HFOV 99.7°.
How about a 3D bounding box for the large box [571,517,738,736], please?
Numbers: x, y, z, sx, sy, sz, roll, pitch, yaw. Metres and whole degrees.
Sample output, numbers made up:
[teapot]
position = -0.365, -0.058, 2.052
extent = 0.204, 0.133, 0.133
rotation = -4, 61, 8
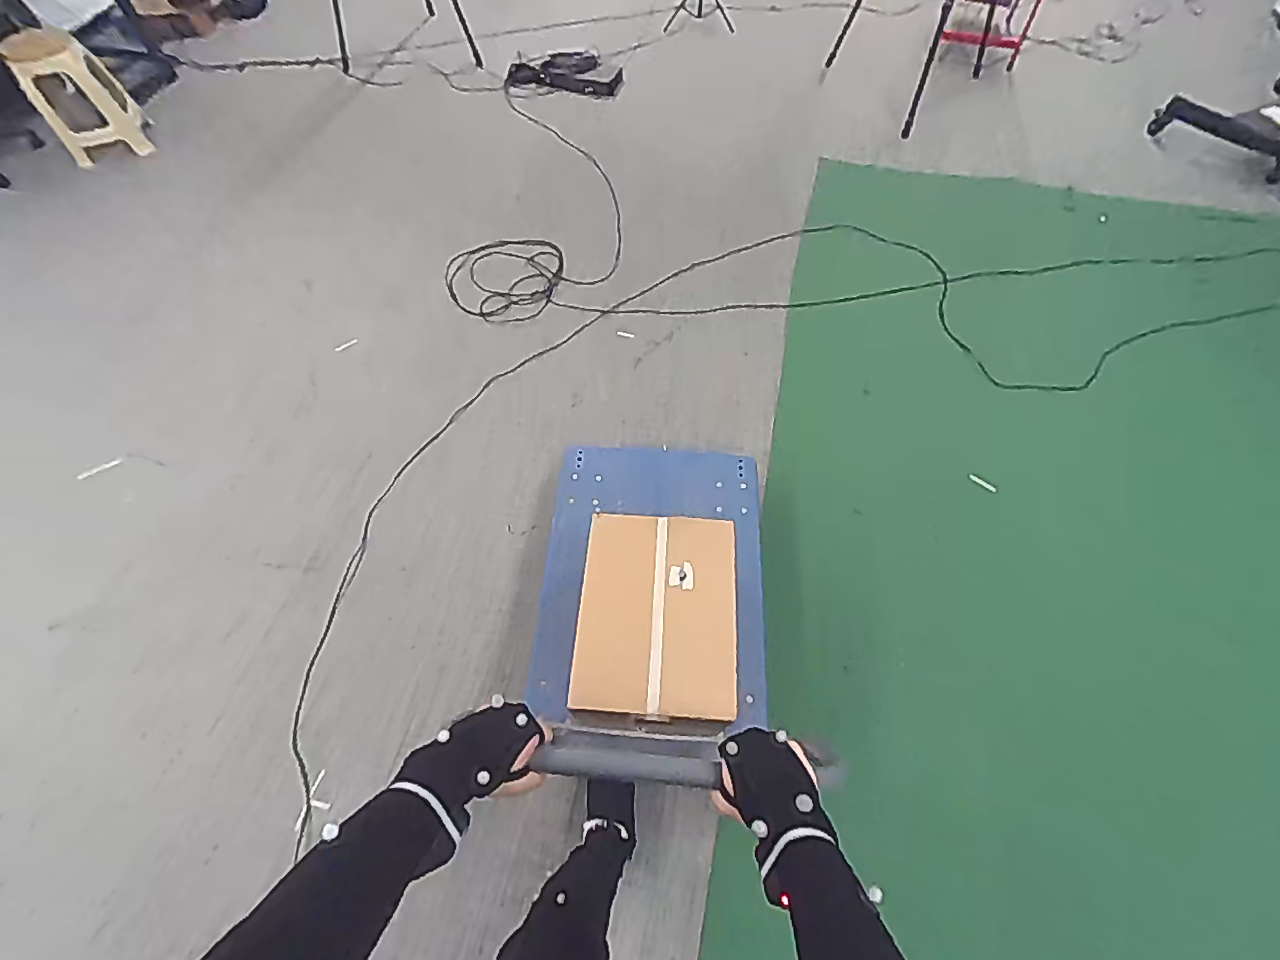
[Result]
[large box]
position = 0.038, 0.335, 1.216
extent = 0.320, 0.320, 0.408
rotation = 4, 58, 2
